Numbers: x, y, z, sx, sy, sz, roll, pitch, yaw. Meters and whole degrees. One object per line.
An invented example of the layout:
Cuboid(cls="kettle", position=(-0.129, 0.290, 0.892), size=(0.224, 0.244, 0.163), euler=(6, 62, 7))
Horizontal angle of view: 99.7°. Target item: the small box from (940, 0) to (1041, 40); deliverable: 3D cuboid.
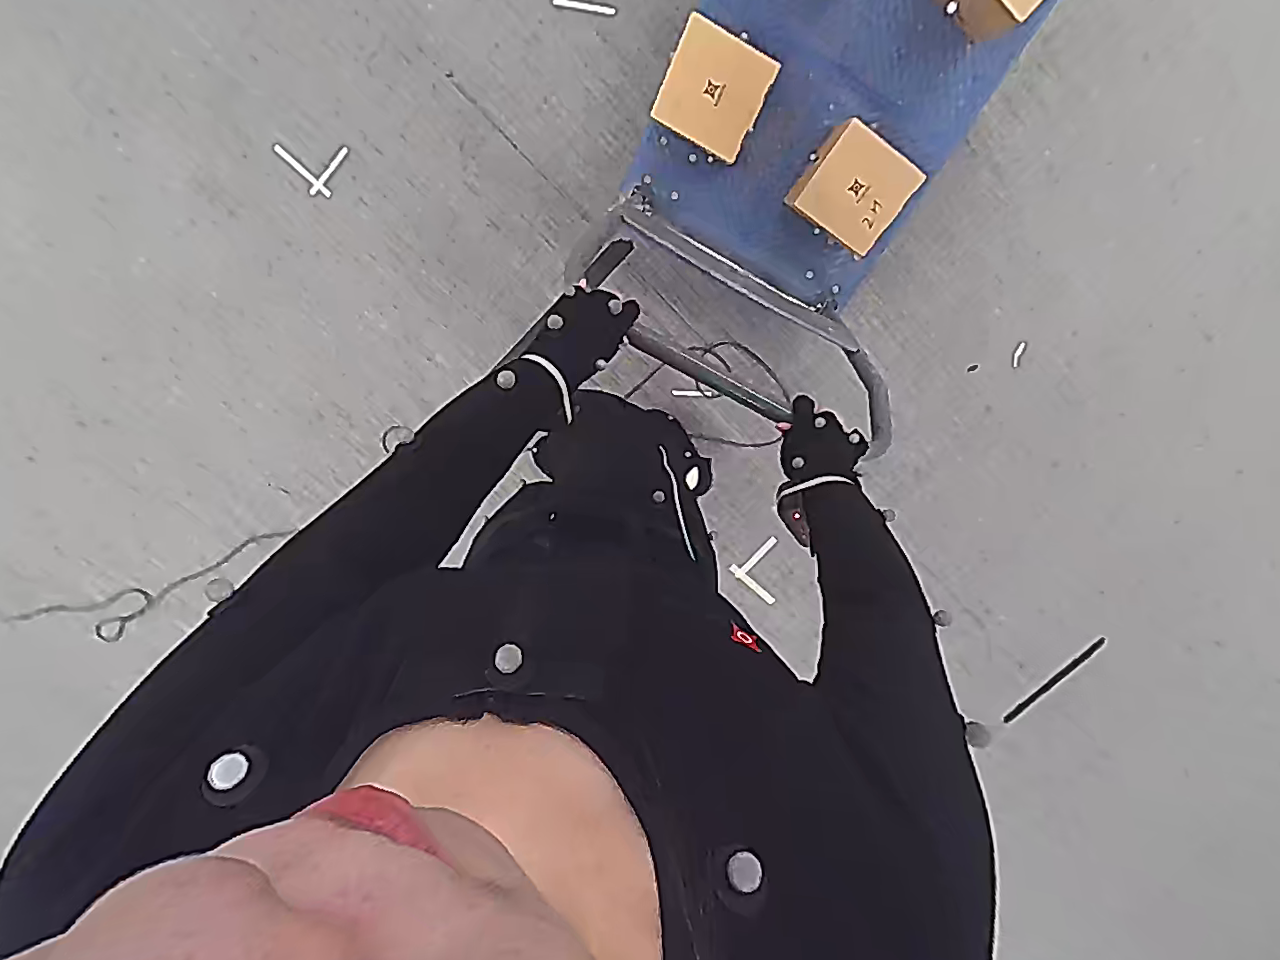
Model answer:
Cuboid(cls="small box", position=(0.607, -0.875, 0.879), size=(0.168, 0.176, 0.179), euler=(37, 118, -14))

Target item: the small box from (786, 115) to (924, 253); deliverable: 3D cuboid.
Cuboid(cls="small box", position=(0.410, -0.577, 1.069), size=(0.179, 0.176, 0.168), euler=(32, 118, -11))

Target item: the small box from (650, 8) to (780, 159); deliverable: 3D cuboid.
Cuboid(cls="small box", position=(0.134, -0.727, 1.017), size=(0.179, 0.176, 0.168), euler=(25, 119, -9))
